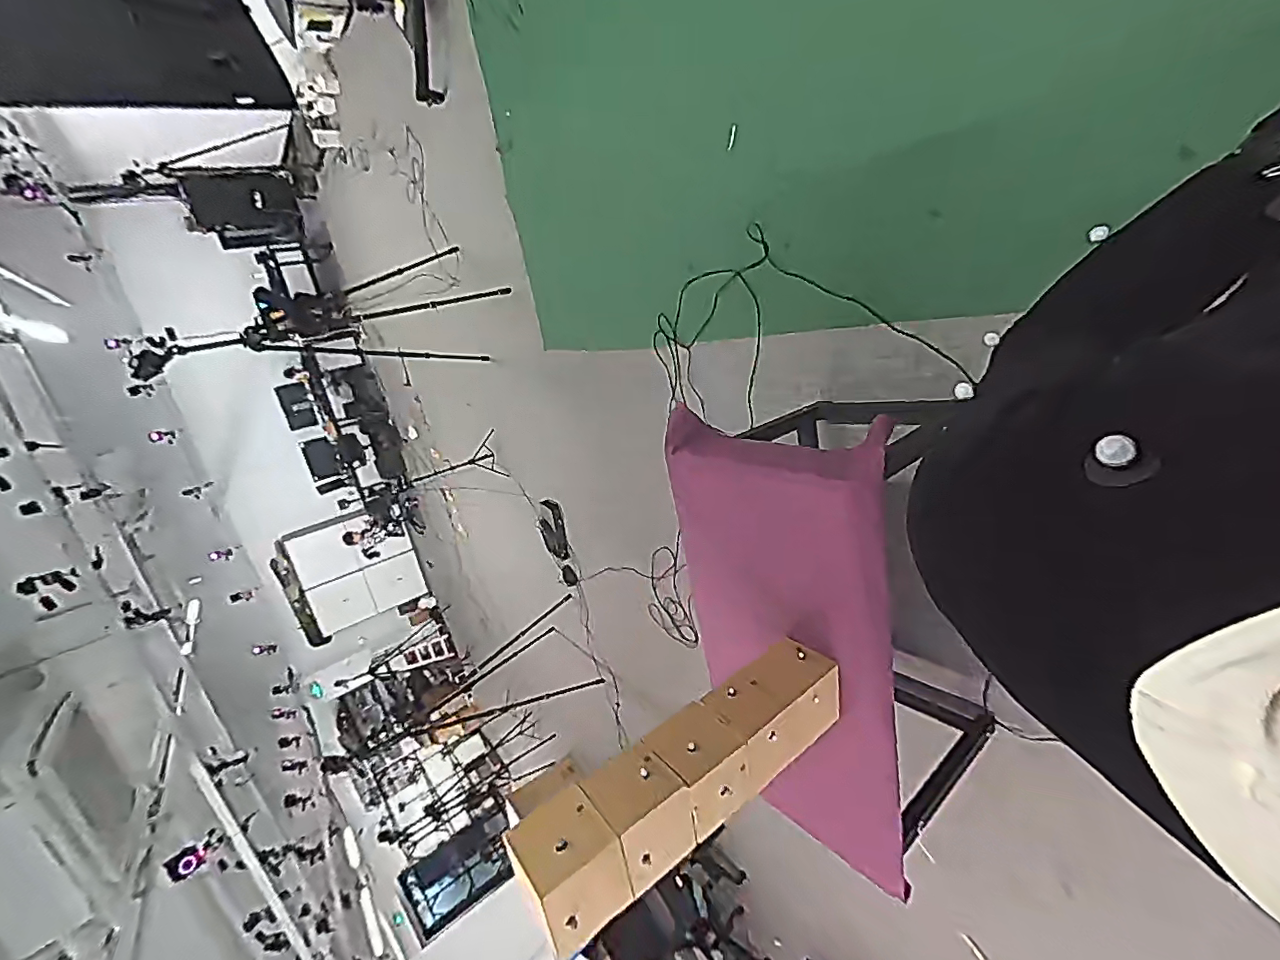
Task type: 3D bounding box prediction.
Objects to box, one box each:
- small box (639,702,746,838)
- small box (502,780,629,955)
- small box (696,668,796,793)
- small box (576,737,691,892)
[{"bbox_3d":[0.123,0.634,1.209,0.179,0.176,0.168,19,123,51],"label":"small box"},{"bbox_3d":[-0.140,0.729,1.040,0.168,0.176,0.179,18,123,52],"label":"small box"},{"bbox_3d":[0.256,0.584,1.290,0.168,0.176,0.179,20,124,51],"label":"small box"},{"bbox_3d":[-0.009,0.684,1.125,0.168,0.176,0.179,17,121,52],"label":"small box"}]
